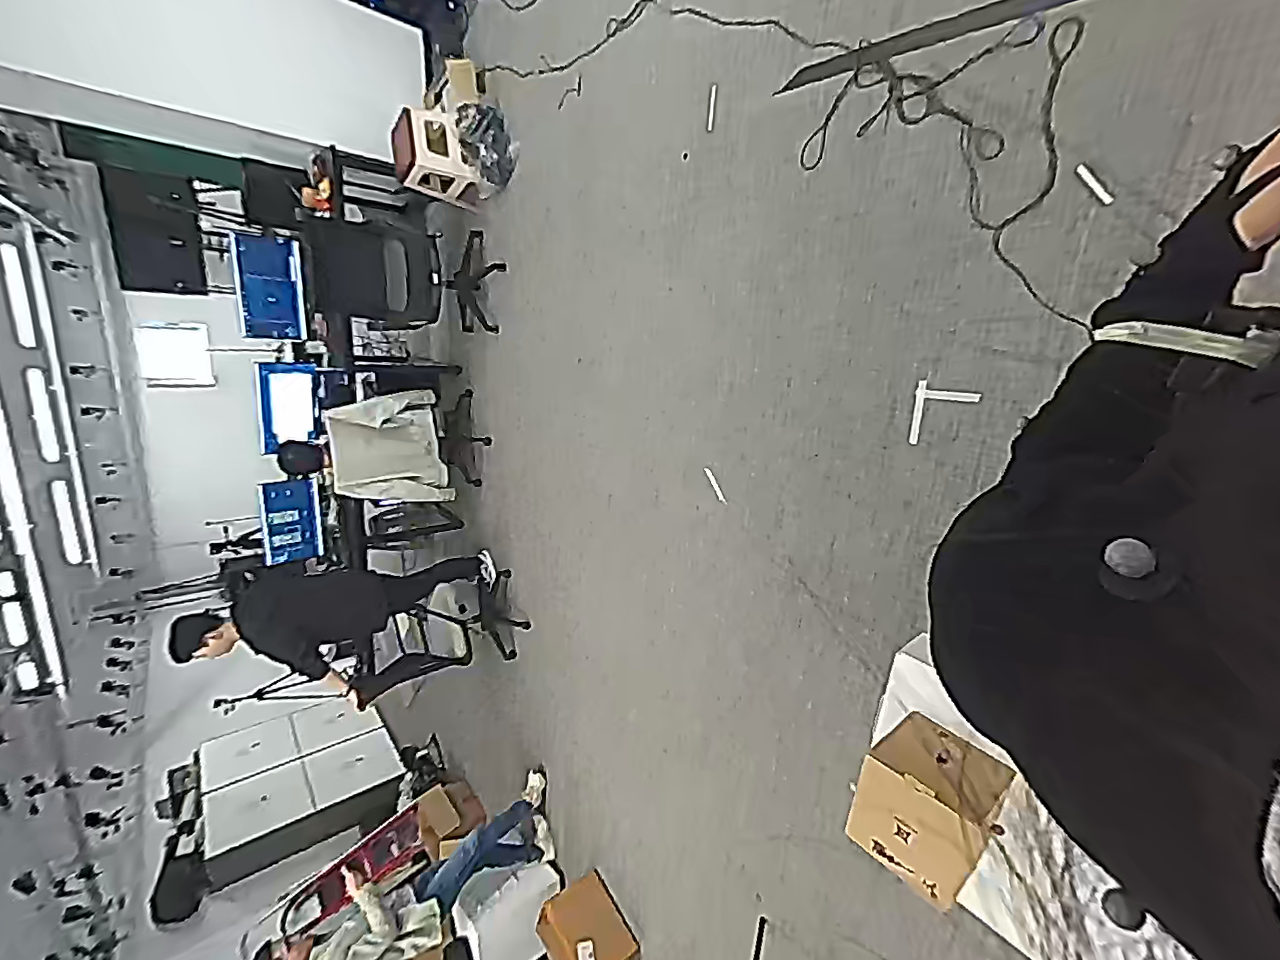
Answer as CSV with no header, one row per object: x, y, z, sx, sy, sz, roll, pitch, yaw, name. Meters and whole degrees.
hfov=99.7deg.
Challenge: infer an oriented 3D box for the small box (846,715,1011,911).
0.466,0.518,0.871,0.168,0.176,0.179,25,115,46,small box
